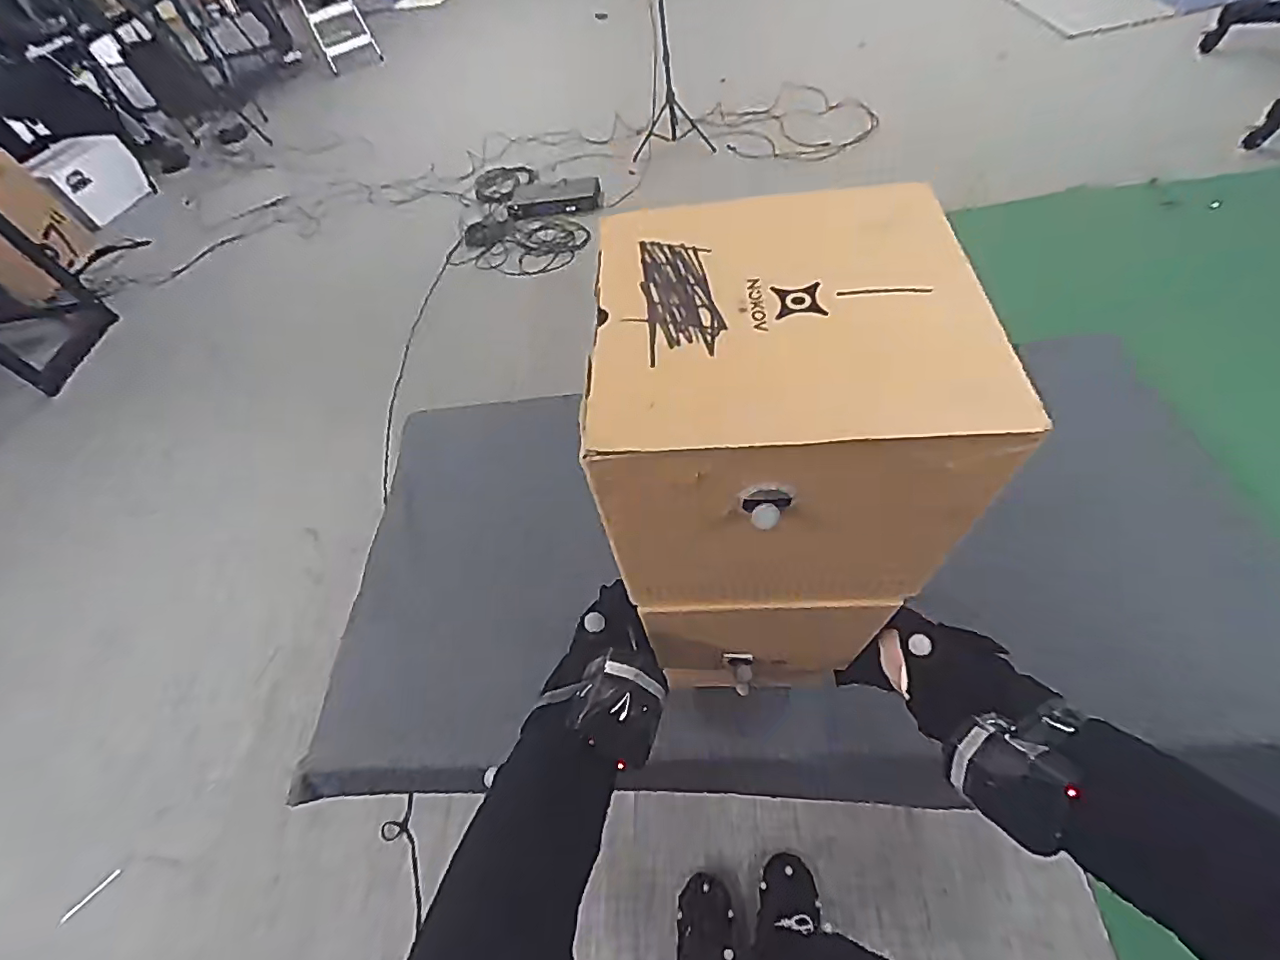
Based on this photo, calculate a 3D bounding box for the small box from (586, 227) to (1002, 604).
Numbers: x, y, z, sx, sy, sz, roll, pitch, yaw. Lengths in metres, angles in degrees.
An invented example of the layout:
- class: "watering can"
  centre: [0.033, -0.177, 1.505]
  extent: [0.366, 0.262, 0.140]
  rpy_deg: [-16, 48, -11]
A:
- class: "small box"
  centre: [0.073, -0.026, 0.336]
  extent: [0.179, 0.176, 0.168]
  rpy_deg: [-3, 57, 6]

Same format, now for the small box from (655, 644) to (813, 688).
- class: "small box"
  centre: [0.107, 0.128, 0.604]
  extent: [0.179, 0.176, 0.168]
  rpy_deg: [-2, 56, 4]

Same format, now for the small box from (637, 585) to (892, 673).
- class: "small box"
  centre: [0.088, 0.053, 0.459]
  extent: [0.168, 0.176, 0.179]
  rpy_deg: [-3, 57, 6]
